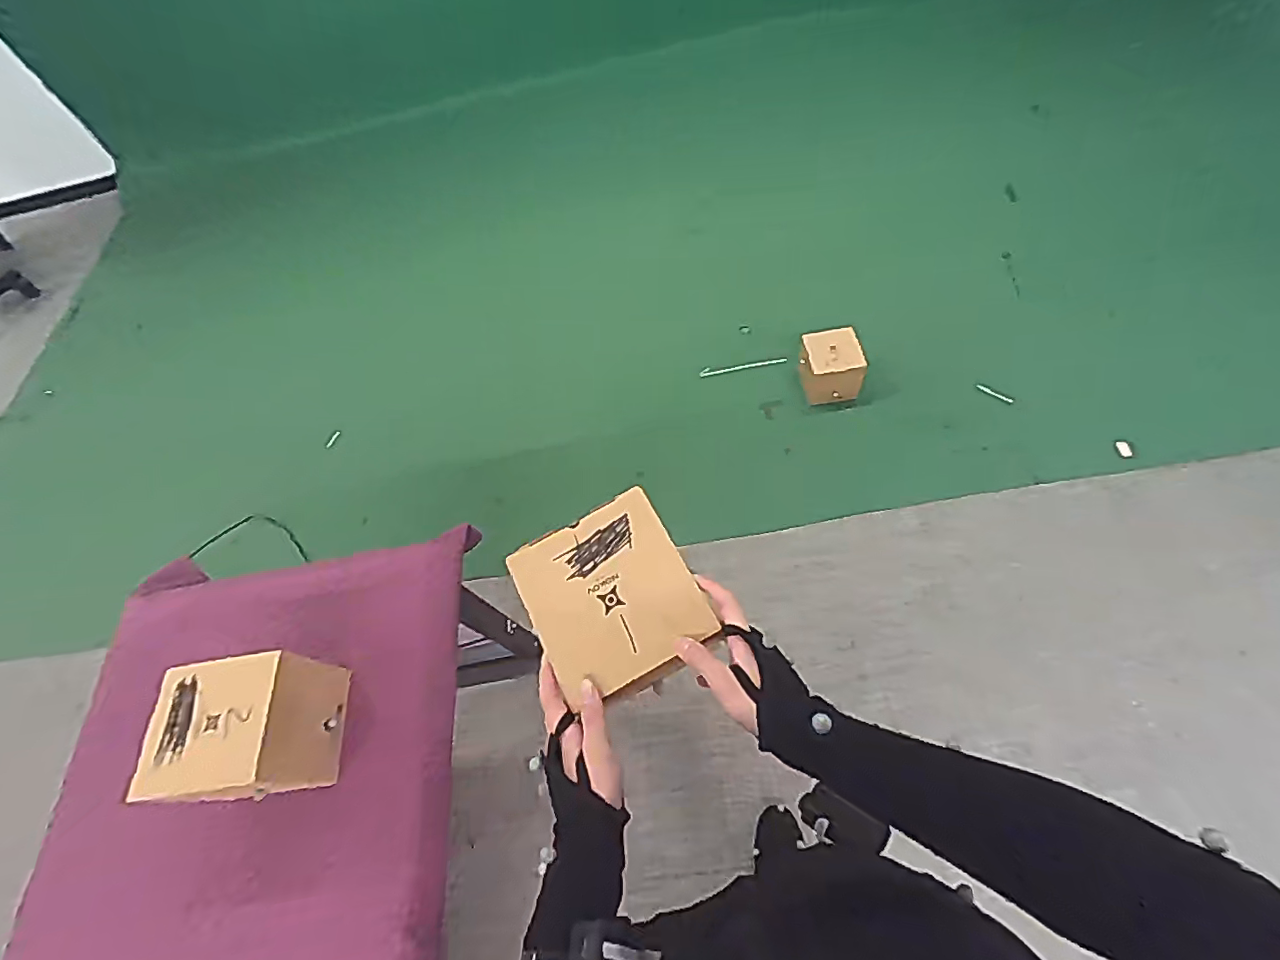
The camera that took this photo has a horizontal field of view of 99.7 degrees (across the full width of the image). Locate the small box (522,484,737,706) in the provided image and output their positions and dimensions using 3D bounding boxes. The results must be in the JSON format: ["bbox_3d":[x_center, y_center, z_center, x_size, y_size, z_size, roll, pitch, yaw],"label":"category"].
[{"bbox_3d":[-0.008,0.139,0.615,0.168,0.176,0.179,-28,67,-4],"label":"small box"}]

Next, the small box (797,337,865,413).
[{"bbox_3d":[0.638,-0.354,1.829,0.168,0.176,0.179,-8,59,5],"label":"small box"}]
